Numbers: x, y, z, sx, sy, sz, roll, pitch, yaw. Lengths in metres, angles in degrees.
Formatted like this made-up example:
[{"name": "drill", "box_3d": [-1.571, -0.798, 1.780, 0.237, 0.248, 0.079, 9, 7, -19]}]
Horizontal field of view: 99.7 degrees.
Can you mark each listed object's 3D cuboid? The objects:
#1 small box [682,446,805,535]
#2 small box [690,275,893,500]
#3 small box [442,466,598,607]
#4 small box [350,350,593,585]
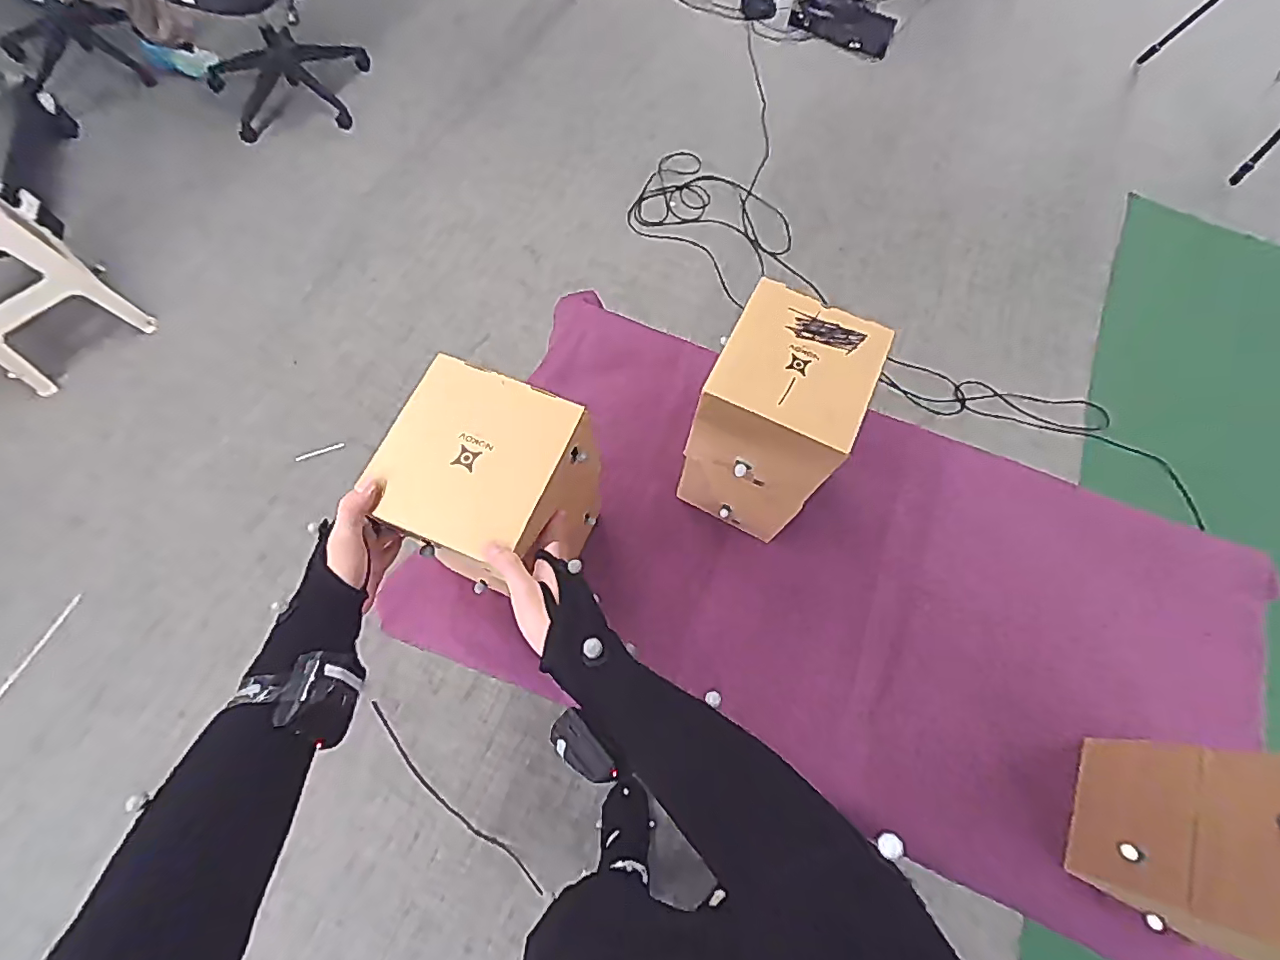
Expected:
[{"name": "small box", "box_3d": [0.173, -0.045, 0.812, 0.168, 0.176, 0.179, 27, 70, 9]}, {"name": "small box", "box_3d": [0.171, -0.104, 0.659, 0.168, 0.176, 0.179, 25, 70, 8]}, {"name": "small box", "box_3d": [-0.168, 0.056, 0.757, 0.168, 0.176, 0.179, 22, 68, 7]}, {"name": "small box", "box_3d": [-0.159, -0.002, 0.583, 0.168, 0.176, 0.179, 21, 72, 8]}]
